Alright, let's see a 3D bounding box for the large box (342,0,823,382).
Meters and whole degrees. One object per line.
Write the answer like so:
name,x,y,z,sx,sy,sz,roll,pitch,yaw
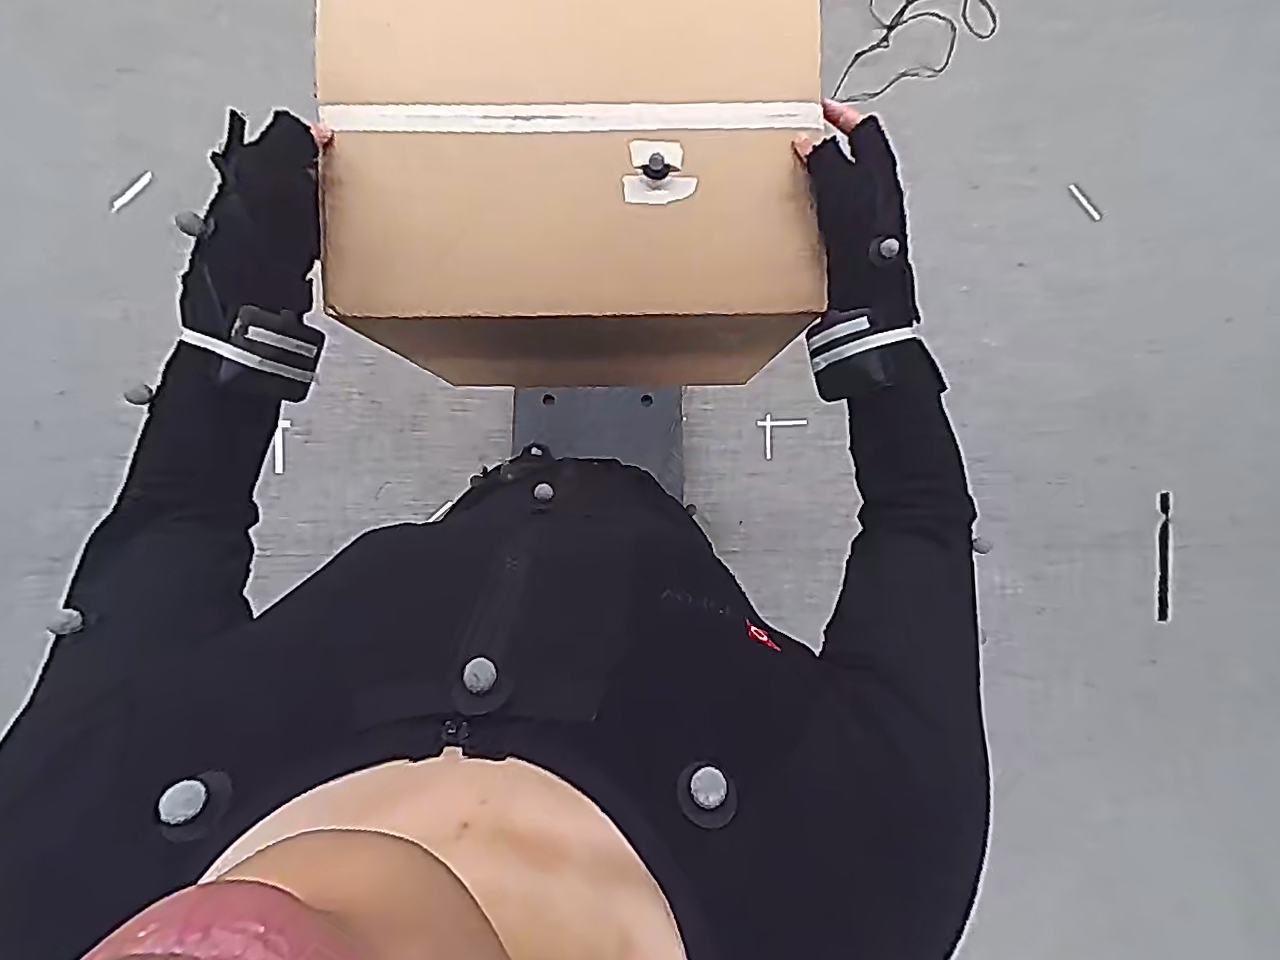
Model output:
large box,-0.053,-0.296,0.600,0.408,0.320,0.320,-1,90,-2
